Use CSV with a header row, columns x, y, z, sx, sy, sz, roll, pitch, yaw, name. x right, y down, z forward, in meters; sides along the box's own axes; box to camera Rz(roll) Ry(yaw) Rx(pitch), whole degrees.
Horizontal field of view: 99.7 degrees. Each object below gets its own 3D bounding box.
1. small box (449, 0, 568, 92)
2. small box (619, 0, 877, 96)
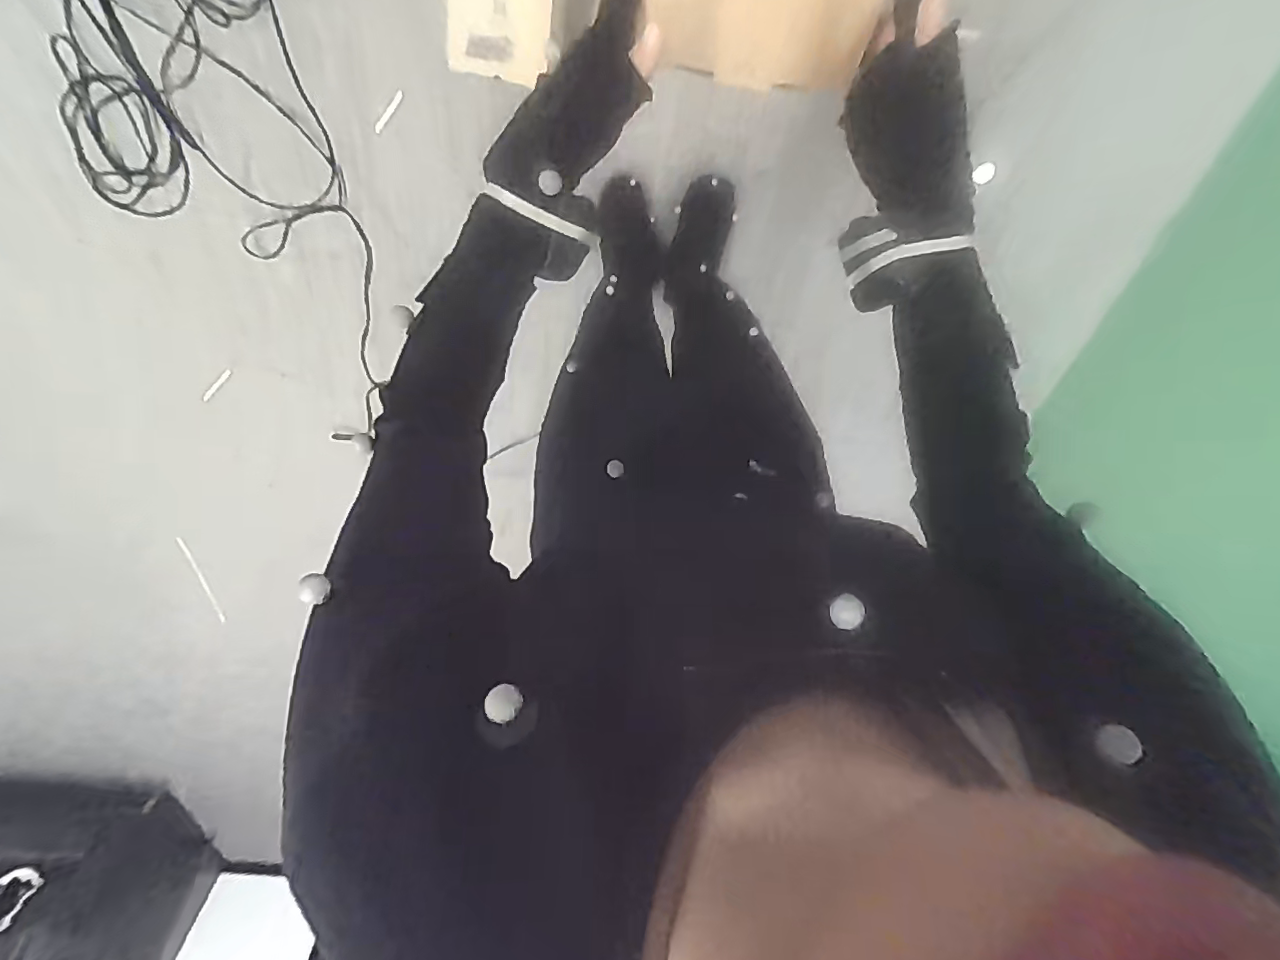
x,y,z,sx,sy,sz,roll,pitch,yaw,name
-0.221,-0.793,0.929,0.168,0.176,0.179,10,126,-6,small box
0.076,-0.409,0.371,0.168,0.176,0.179,-1,146,-14,small box
